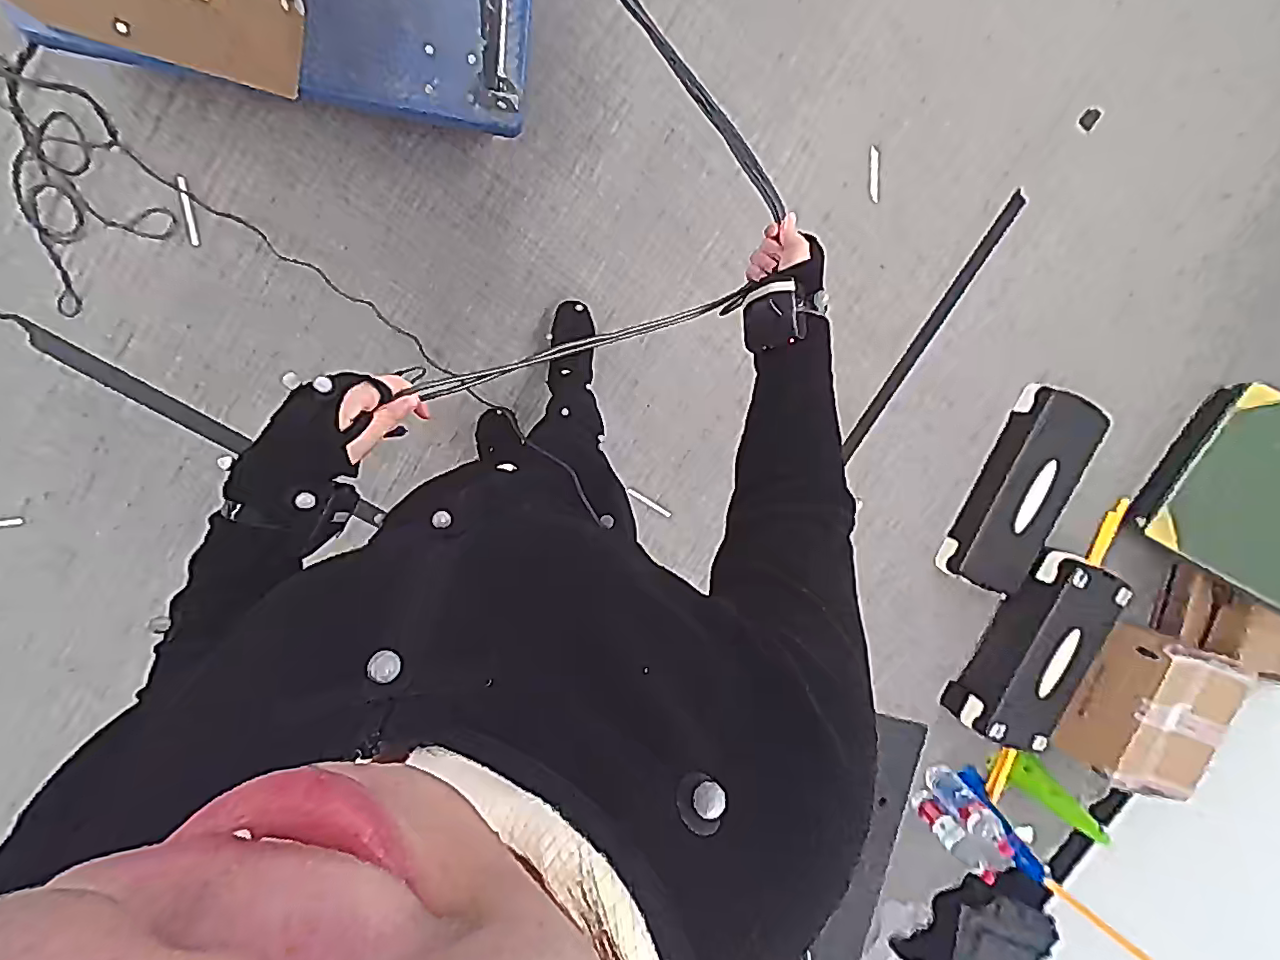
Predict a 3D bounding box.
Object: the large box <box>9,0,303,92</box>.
[{"bbox_3d":[-0.779,-0.865,0.808,0.408,0.320,0.320,9,101,-14],"label":"large box"}]
